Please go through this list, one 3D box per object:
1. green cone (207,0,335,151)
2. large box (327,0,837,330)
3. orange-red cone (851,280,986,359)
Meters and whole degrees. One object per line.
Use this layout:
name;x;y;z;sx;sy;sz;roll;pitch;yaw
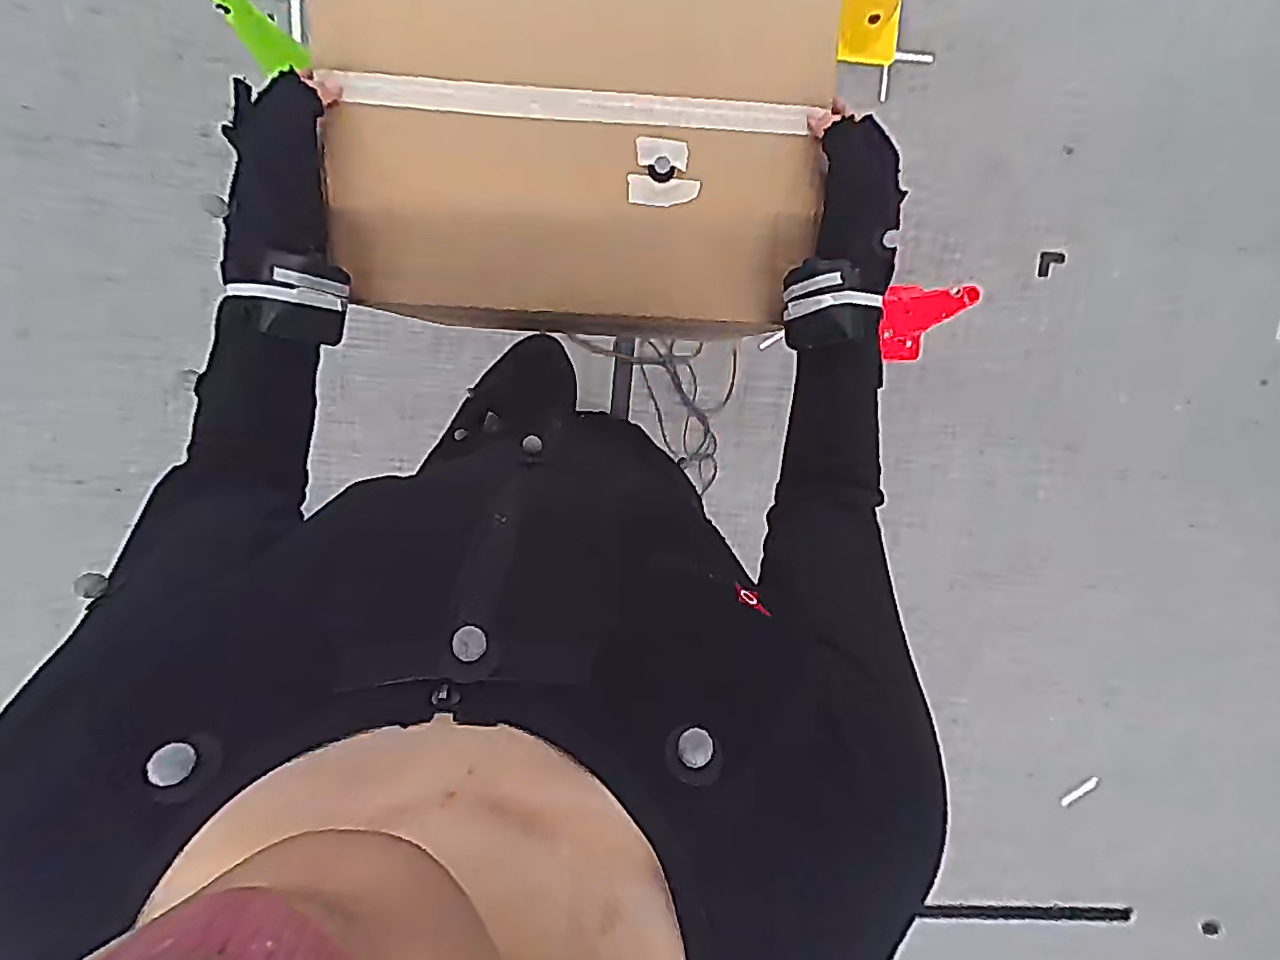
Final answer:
green cone;-0.772;-0.912;1.141;0.202;0.368;0.200;-33;97;3
large box;-0.054;-0.335;0.579;0.408;0.320;0.320;1;102;-4
orange-red cone;0.676;-0.411;1.276;0.198;0.360;0.199;2;95;-4
